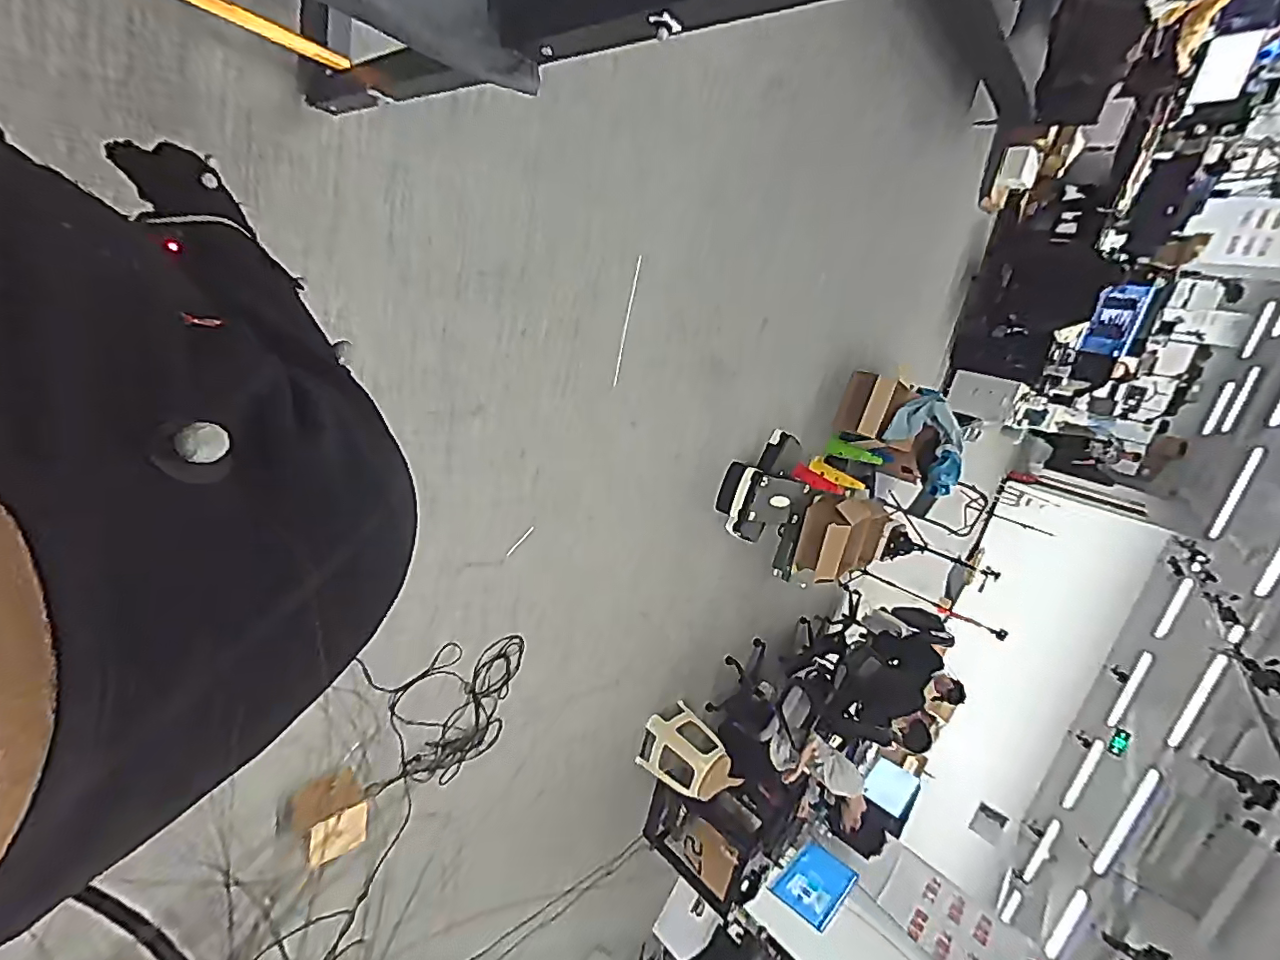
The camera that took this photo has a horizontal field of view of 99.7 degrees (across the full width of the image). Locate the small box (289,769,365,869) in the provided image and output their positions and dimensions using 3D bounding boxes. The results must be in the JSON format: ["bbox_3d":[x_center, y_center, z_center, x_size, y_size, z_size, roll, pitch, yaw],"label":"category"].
[{"bbox_3d":[-1.002,1.072,1.725,0.168,0.176,0.179,-6,113,-48],"label":"small box"}]
